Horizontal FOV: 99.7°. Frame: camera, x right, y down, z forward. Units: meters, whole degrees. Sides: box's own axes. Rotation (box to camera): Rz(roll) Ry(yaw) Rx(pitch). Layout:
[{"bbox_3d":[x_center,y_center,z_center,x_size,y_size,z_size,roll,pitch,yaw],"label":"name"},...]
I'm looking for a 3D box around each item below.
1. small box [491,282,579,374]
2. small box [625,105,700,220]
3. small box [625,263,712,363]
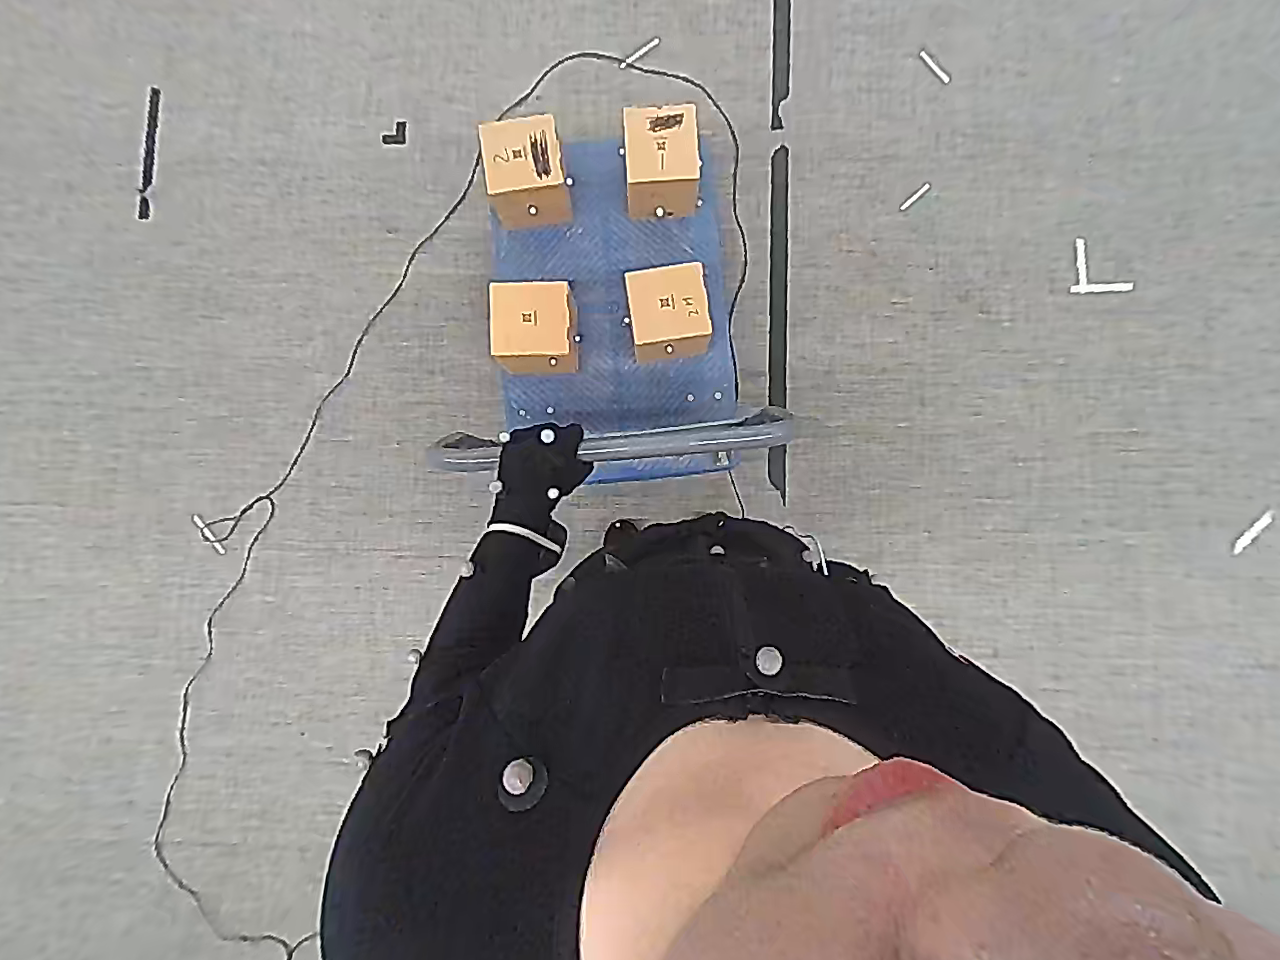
[{"bbox_3d":[-0.242,-0.350,1.274,0.179,0.176,0.168,-2,87,-1],"label":"small box"},{"bbox_3d":[0.049,-0.750,1.290,0.168,0.176,0.179,-4,88,0],"label":"small box"},{"bbox_3d":[0.065,-0.385,1.272,0.179,0.176,0.168,-9,87,0],"label":"small box"}]
